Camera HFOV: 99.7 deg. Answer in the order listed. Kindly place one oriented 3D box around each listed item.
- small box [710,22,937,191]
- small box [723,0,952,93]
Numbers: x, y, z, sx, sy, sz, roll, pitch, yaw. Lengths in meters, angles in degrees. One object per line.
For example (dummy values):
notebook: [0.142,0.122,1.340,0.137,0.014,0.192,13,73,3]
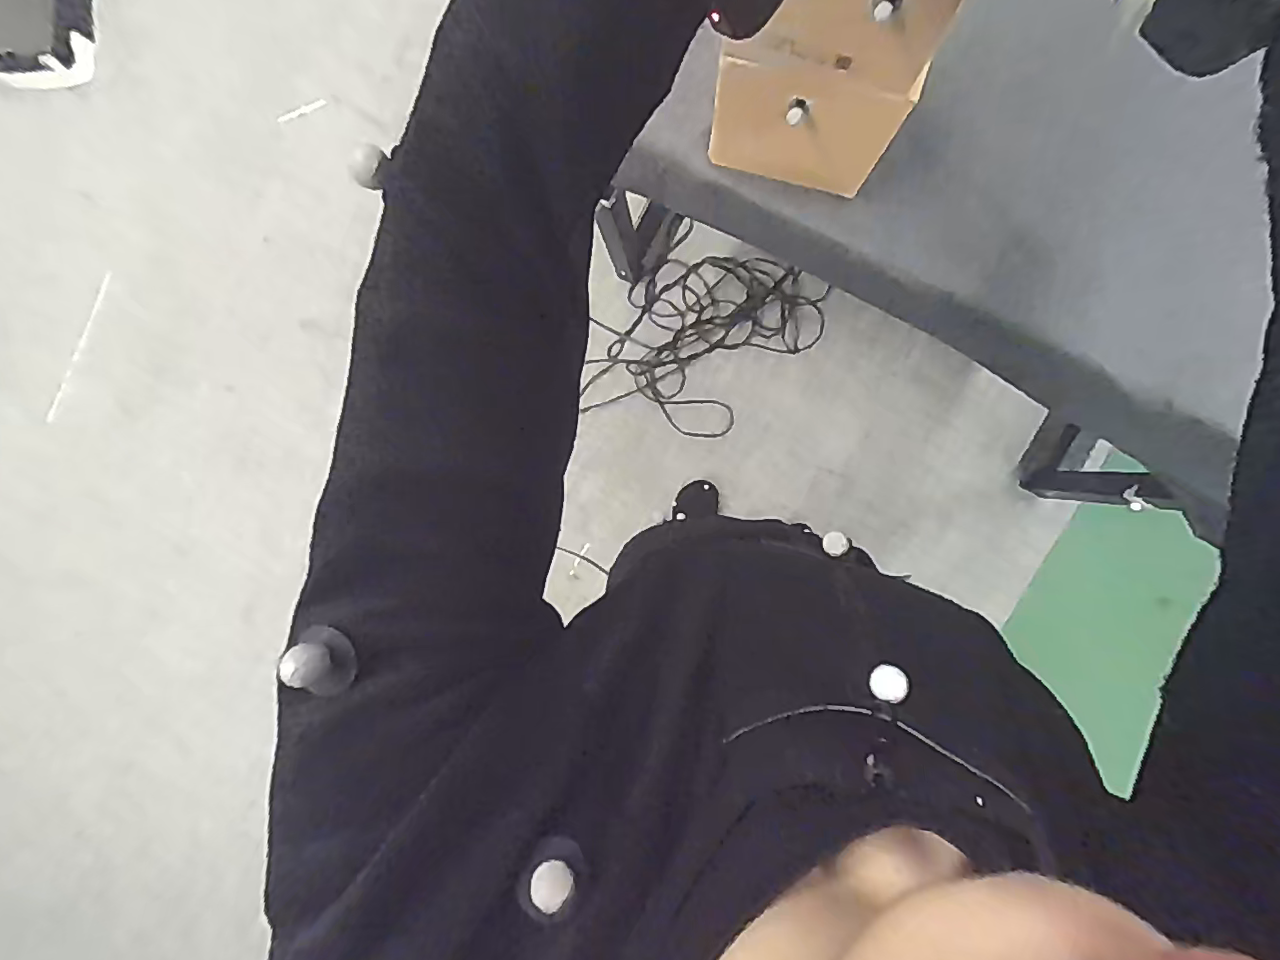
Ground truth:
small box: [0.178,-0.421,0.539,0.179,0.176,0.168,17,93,4]
small box: [0.162,-0.423,0.377,0.168,0.176,0.179,19,92,3]
